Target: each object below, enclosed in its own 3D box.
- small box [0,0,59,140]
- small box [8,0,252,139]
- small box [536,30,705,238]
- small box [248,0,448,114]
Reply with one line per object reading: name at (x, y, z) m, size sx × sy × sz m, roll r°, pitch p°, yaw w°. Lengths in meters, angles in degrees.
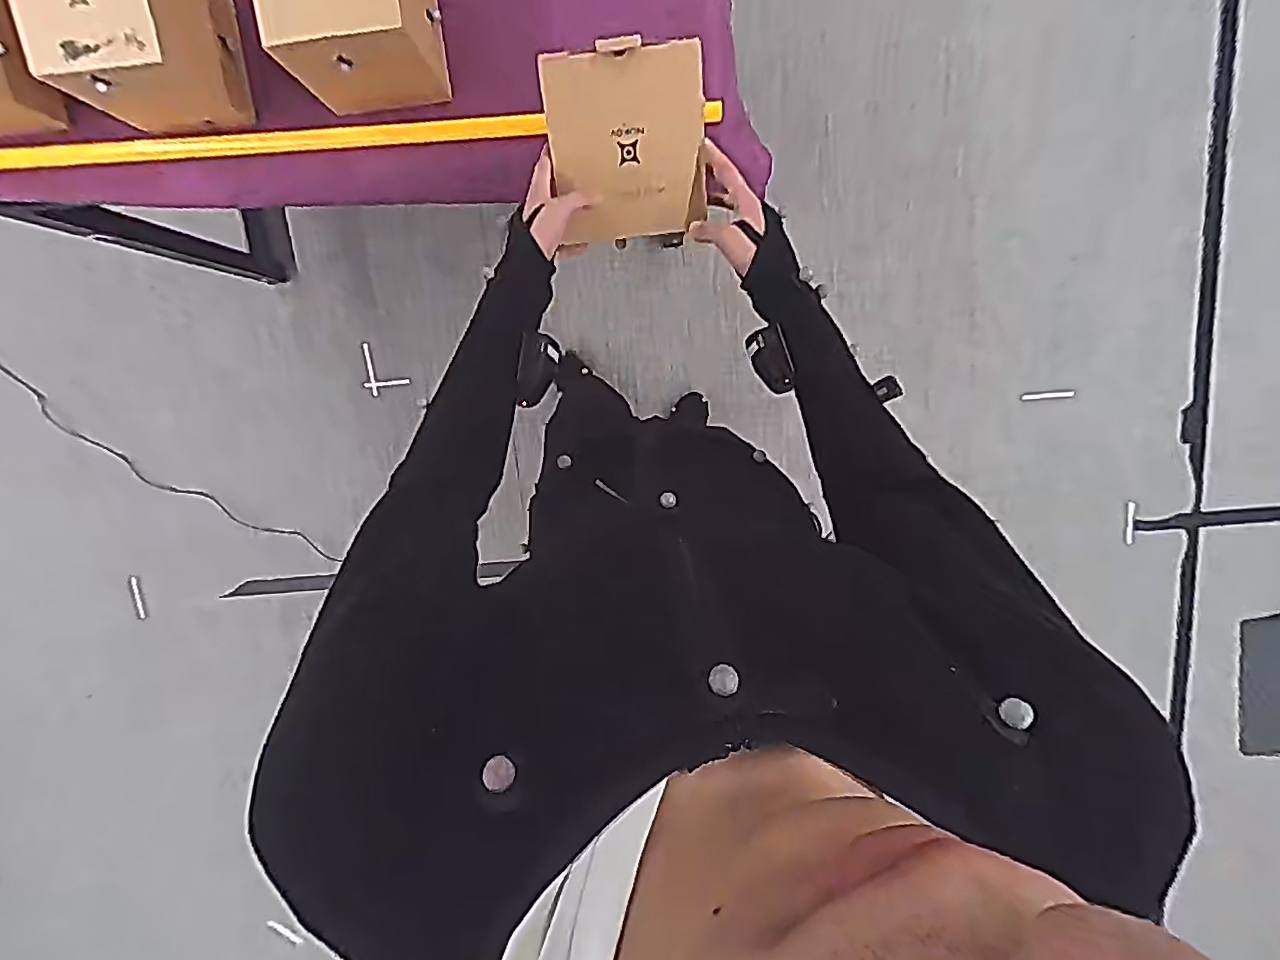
small box at (-0.942, -0.575, 0.717) m, size 0.179 × 0.176 × 0.168 m, roll -6°, pitch 100°, yaw 1°
small box at (-0.662, -0.588, 0.714) m, size 0.168 × 0.176 × 0.179 m, roll -5°, pitch 100°, yaw 2°
small box at (-0.020, -0.386, 0.633) m, size 0.168 × 0.176 × 0.179 m, roll -6°, pitch 116°, yaw 0°
small box at (-0.376, -0.612, 0.707) m, size 0.179 × 0.176 × 0.168 m, roll -6°, pitch 99°, yaw 1°
